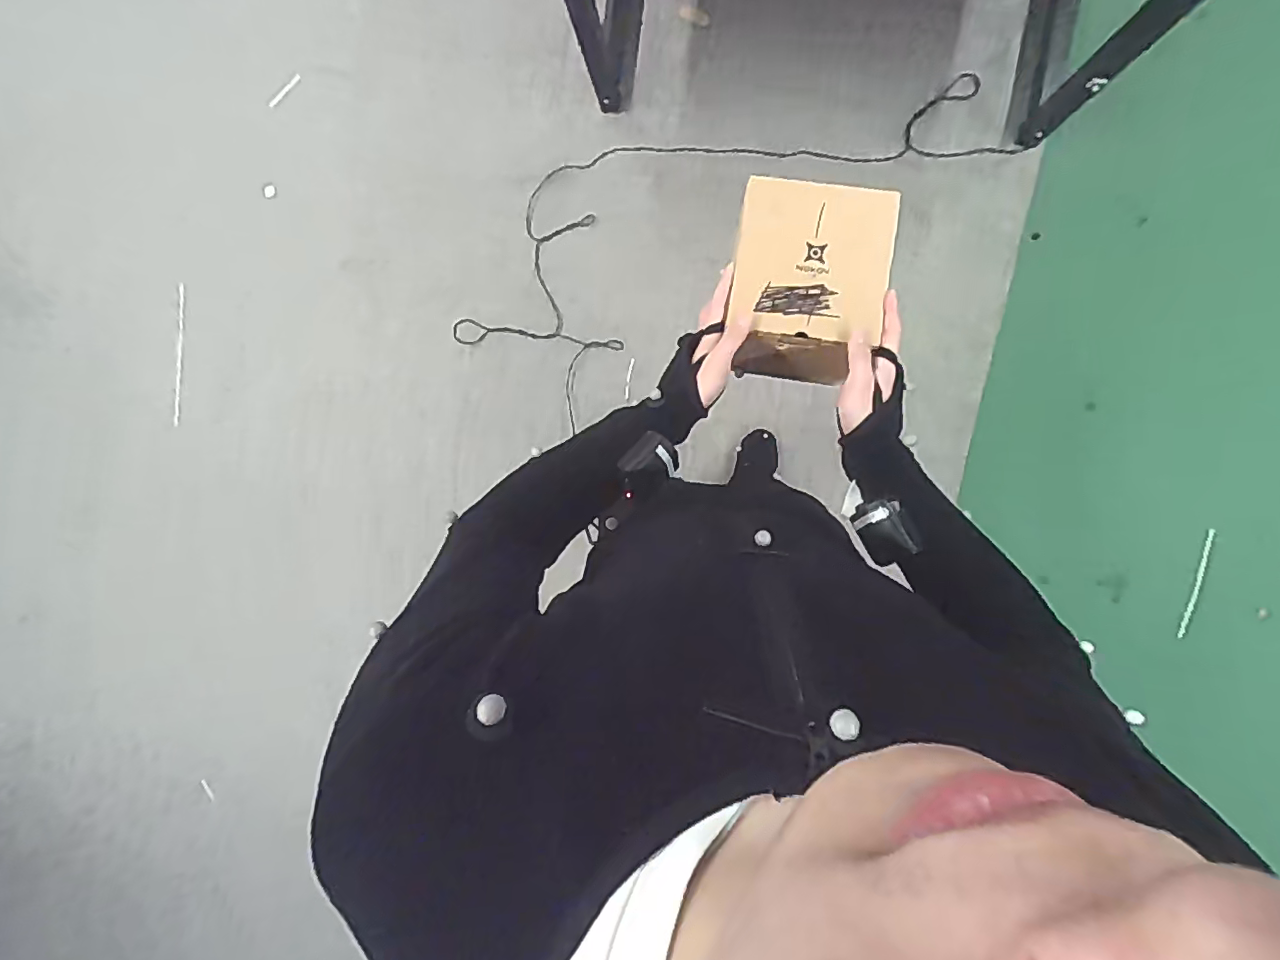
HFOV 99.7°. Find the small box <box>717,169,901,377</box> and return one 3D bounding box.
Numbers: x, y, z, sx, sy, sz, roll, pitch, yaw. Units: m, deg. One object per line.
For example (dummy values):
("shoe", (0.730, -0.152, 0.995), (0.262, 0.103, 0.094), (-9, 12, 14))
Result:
("small box", (0.188, -0.234, 0.653), (0.168, 0.176, 0.179), (9, 87, 5))
